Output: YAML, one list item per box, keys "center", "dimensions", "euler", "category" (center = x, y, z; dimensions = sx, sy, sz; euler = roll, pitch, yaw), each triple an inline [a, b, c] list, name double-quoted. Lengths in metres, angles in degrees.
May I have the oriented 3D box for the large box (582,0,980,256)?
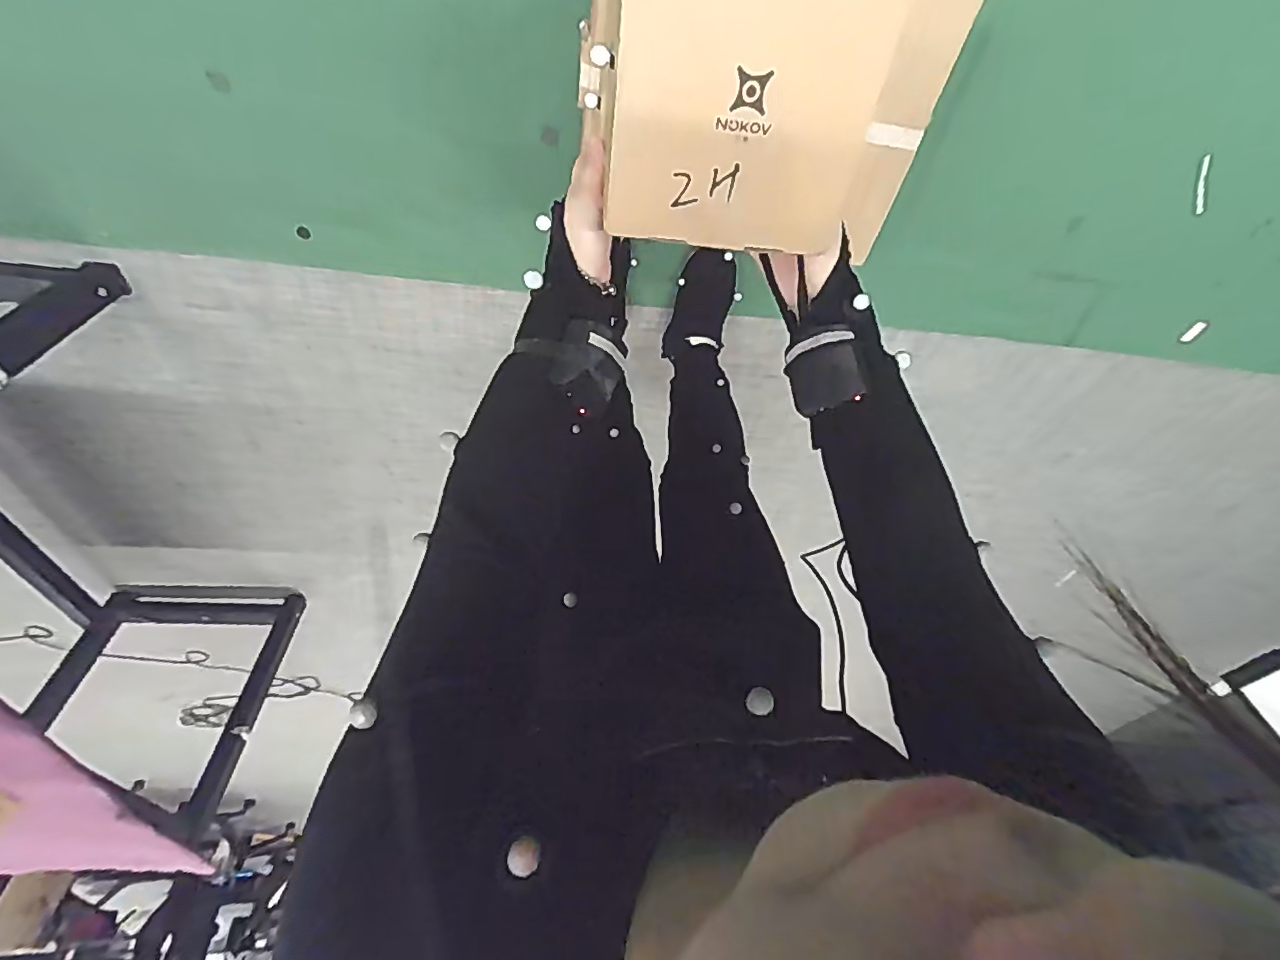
- center: [0.131, -0.533, 0.721]
  dimensions: [0.408, 0.320, 0.320]
  euler: [4, 135, -9]
  category: "large box"

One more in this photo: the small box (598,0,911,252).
- center: [0.058, -0.288, 0.384]
  dimensions: [0.168, 0.176, 0.179]
  euler: [3, 133, -7]
  category: "small box"
